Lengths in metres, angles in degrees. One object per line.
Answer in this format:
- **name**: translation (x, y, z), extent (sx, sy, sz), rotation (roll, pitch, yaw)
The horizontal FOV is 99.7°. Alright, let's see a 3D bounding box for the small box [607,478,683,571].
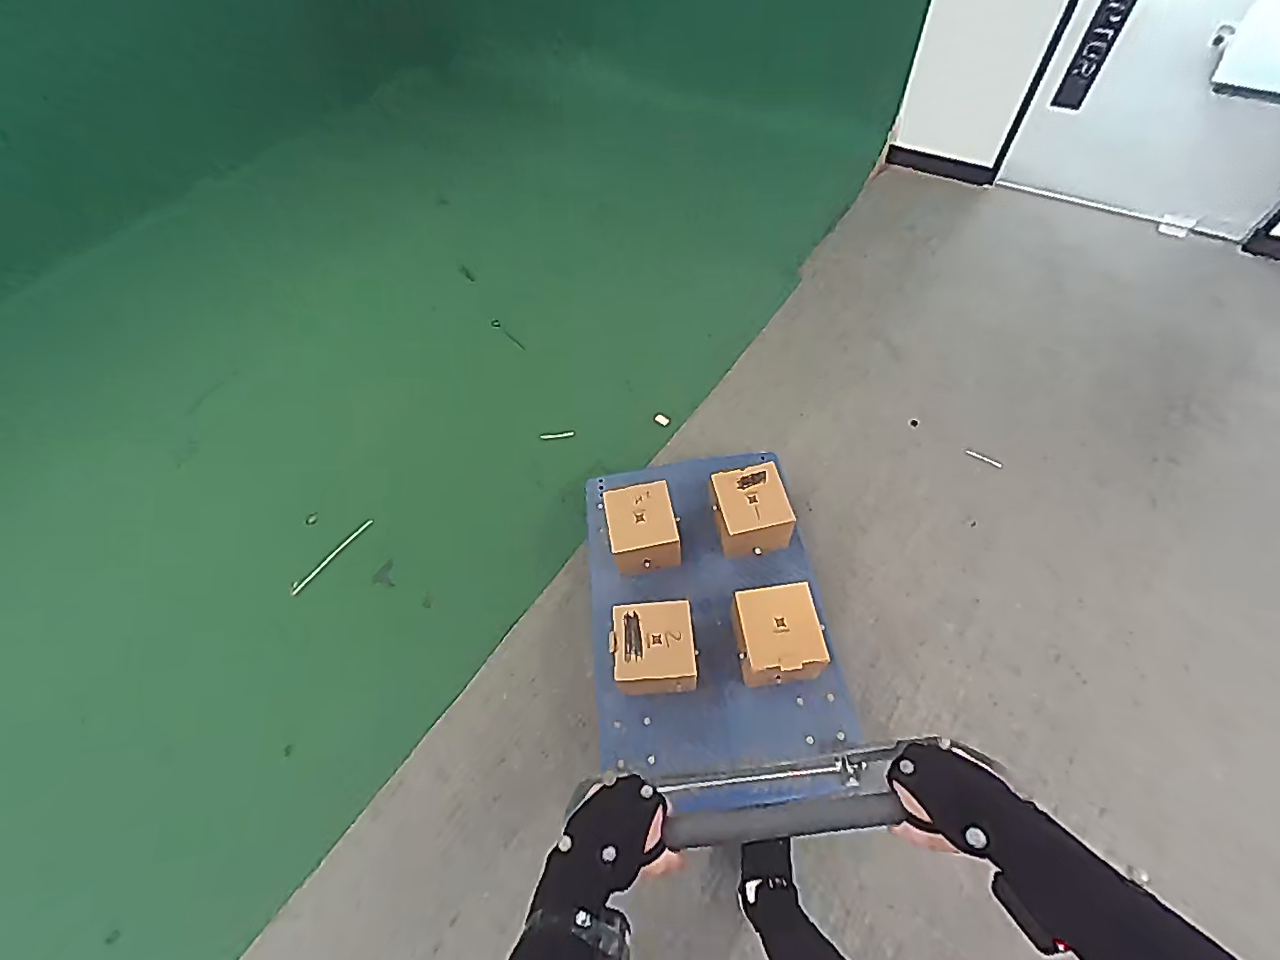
- **small box**: translation (0.015, 0.122, 1.393), extent (0.168, 0.176, 0.179), rotation (-10, 59, -1)

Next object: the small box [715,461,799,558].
- **small box**: translation (0.291, 0.078, 1.391), extent (0.168, 0.176, 0.179), rotation (-12, 59, 0)

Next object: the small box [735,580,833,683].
- **small box**: translation (0.316, 0.348, 1.228), extent (0.168, 0.176, 0.179), rotation (-8, 59, 1)
